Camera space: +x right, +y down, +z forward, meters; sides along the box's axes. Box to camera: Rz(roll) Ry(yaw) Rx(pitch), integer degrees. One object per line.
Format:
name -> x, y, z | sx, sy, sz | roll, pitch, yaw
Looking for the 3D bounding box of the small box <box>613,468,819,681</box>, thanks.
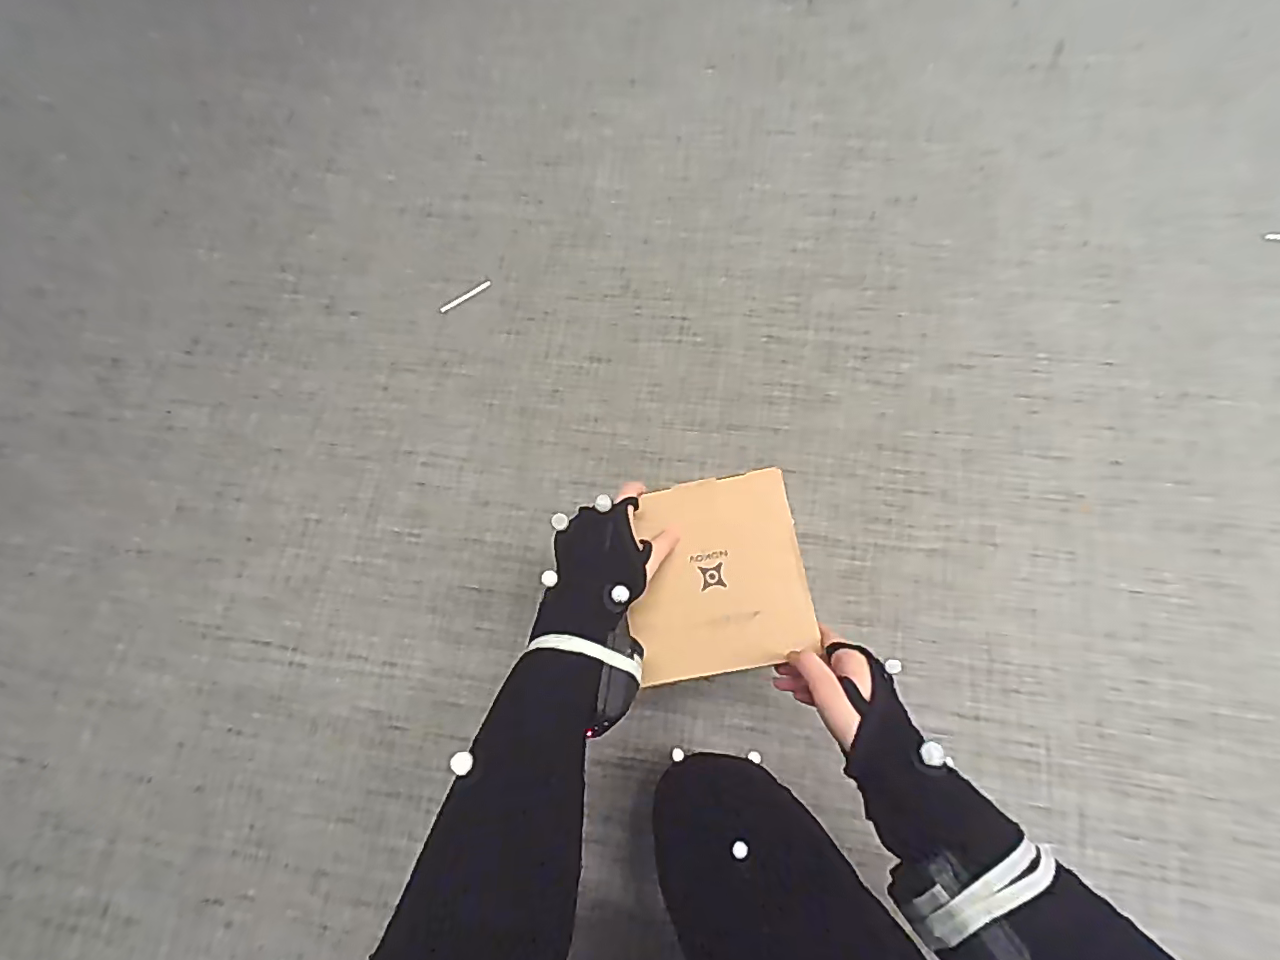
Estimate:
small box -> 0.072, 0.104, 0.573 | 0.168, 0.176, 0.179 | -11, 75, 4
